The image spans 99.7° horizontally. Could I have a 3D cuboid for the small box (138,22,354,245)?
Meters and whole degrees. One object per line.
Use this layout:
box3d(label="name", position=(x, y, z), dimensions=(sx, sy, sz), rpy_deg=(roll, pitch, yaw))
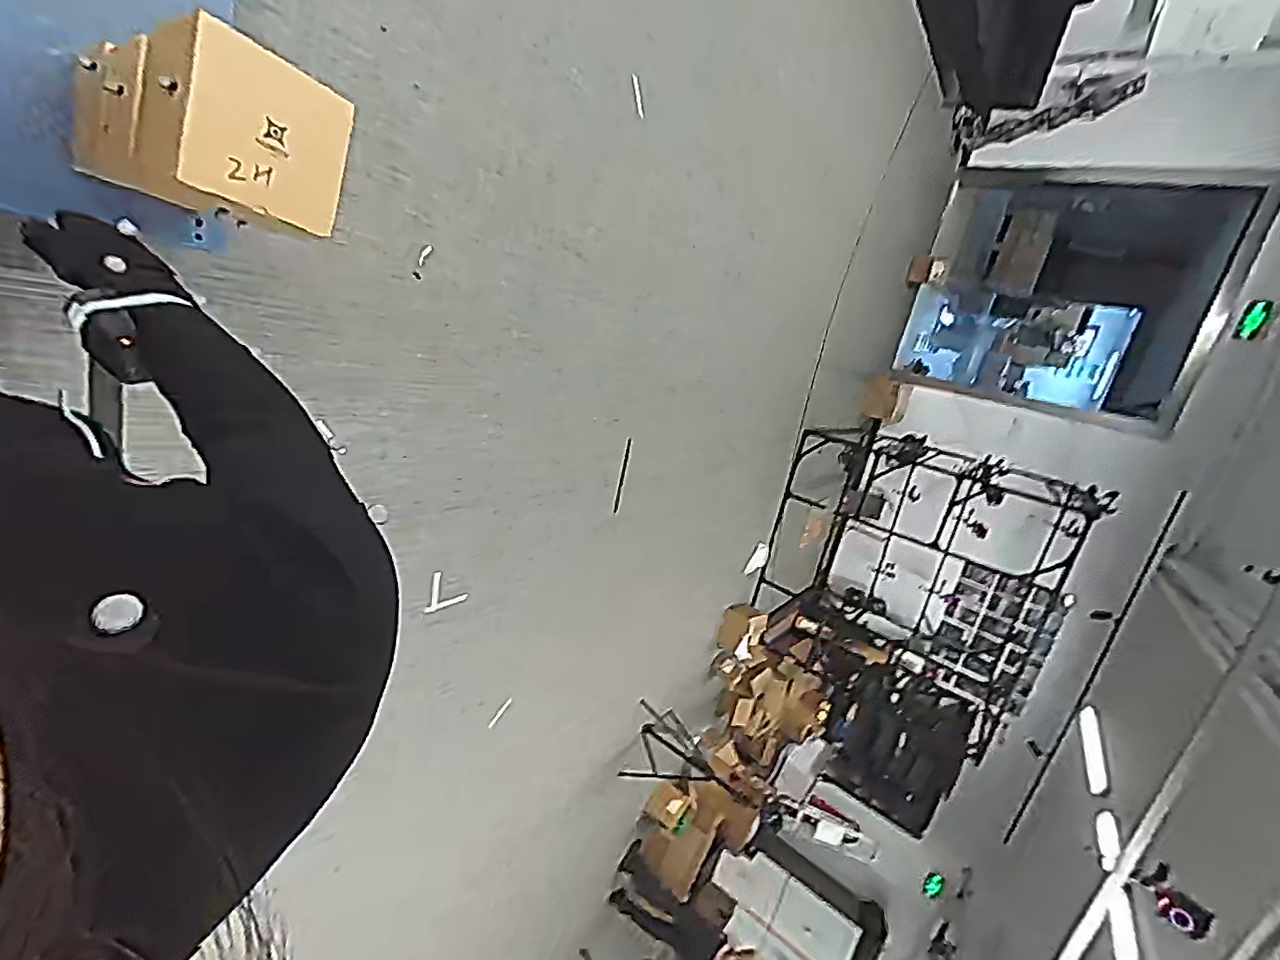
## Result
box3d(label="small box", position=(-0.501, -0.423, 0.688), dimensions=(0.168, 0.176, 0.179), rpy_deg=(3, 106, -57))

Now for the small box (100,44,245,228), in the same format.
box3d(label="small box", position=(-0.632, -0.472, 0.775), dimensions=(0.179, 0.176, 0.168), rpy_deg=(0, 108, -57))
